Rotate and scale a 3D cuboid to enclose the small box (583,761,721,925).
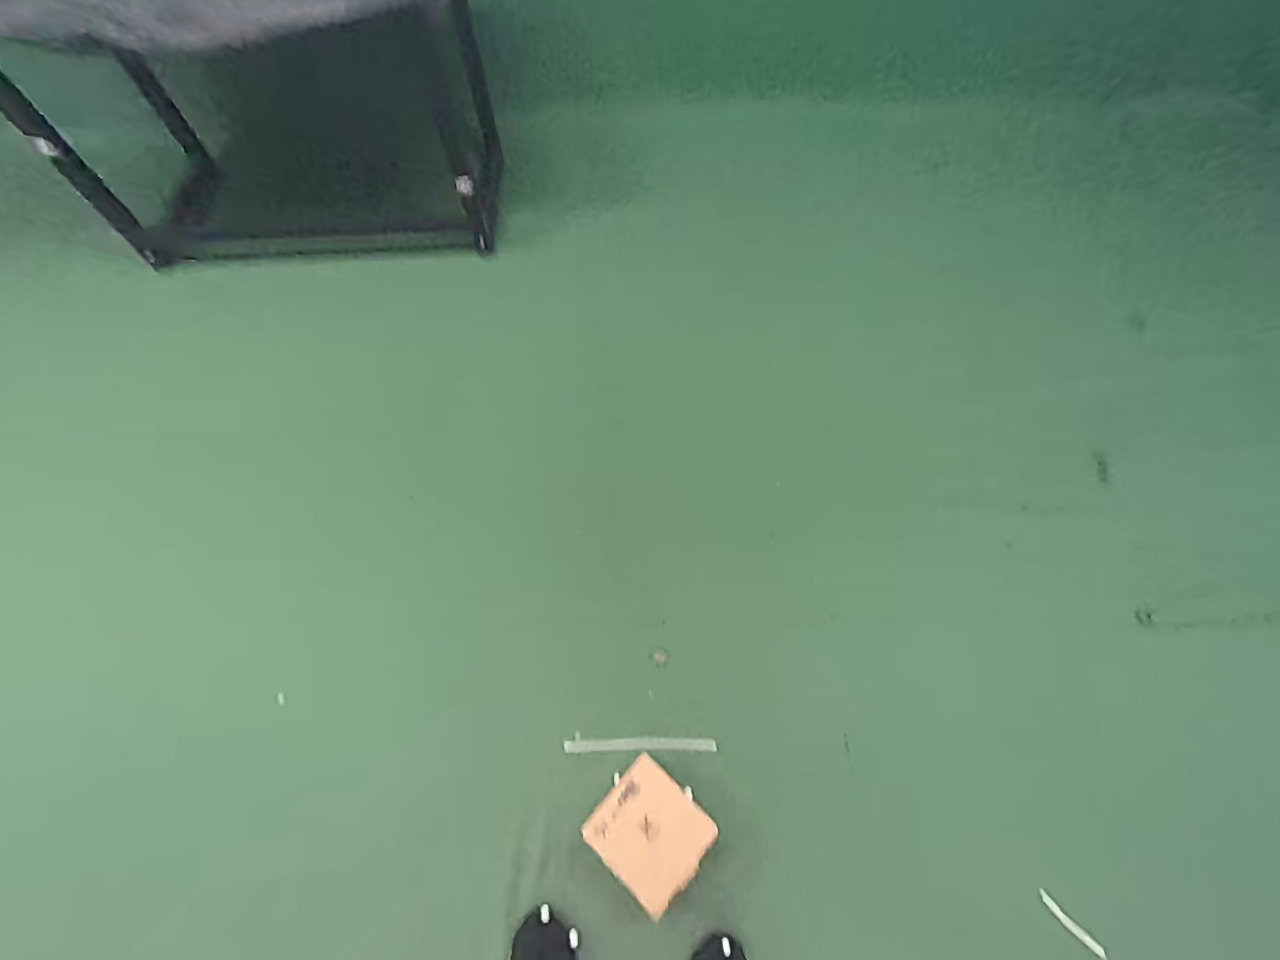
[{"bbox_3d":[0.021,0.638,0.975,0.179,0.176,0.168,38,67,21],"label":"small box"}]
